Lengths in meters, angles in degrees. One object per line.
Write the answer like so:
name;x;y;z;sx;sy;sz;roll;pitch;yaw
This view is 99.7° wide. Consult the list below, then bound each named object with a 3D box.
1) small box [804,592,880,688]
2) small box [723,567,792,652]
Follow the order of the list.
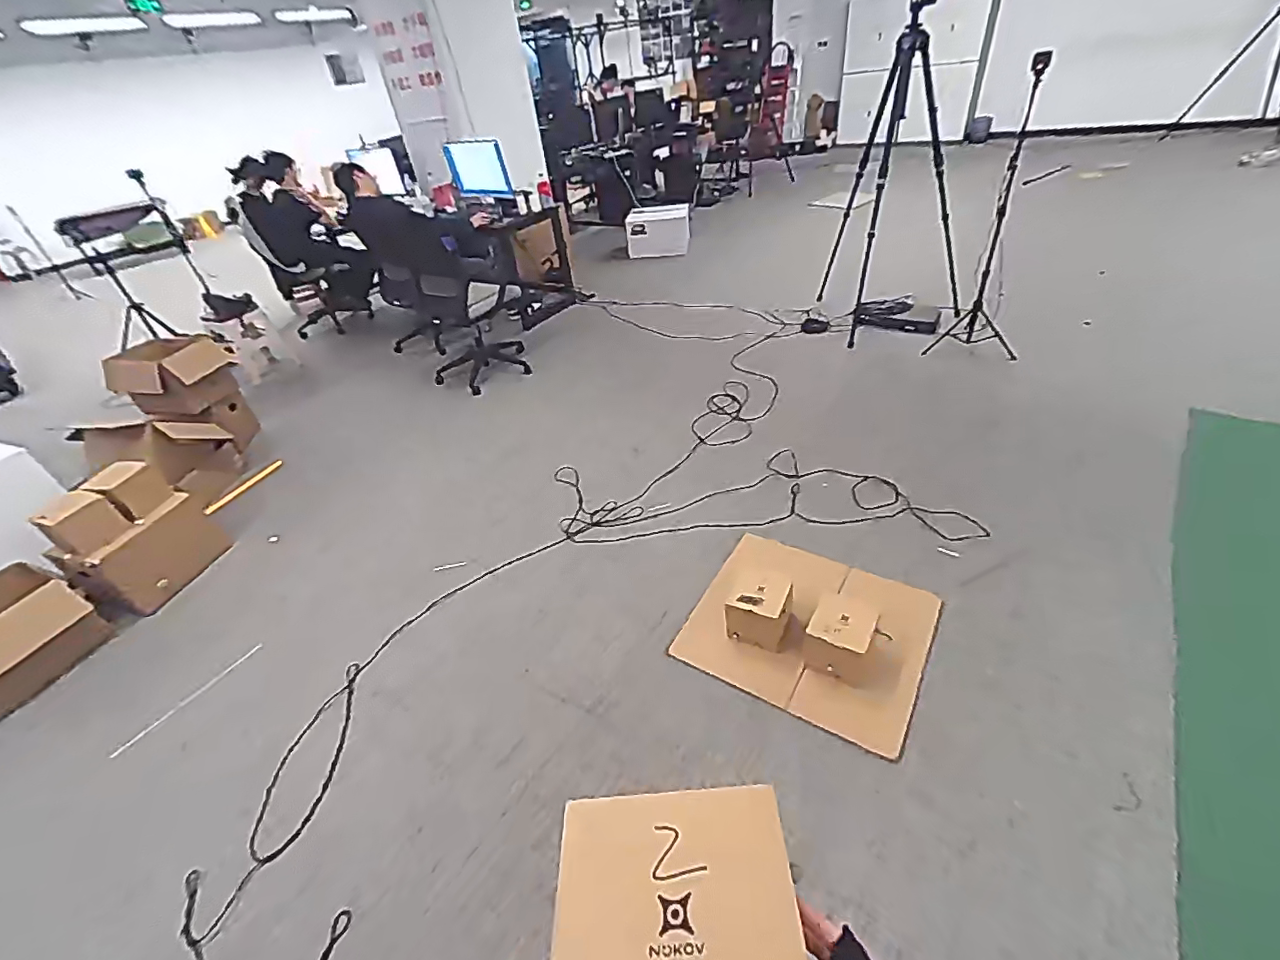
small box;0.589;0.470;1.591;0.168;0.176;0.179;16;44;31
small box;0.375;0.410;1.709;0.168;0.176;0.179;13;42;27
